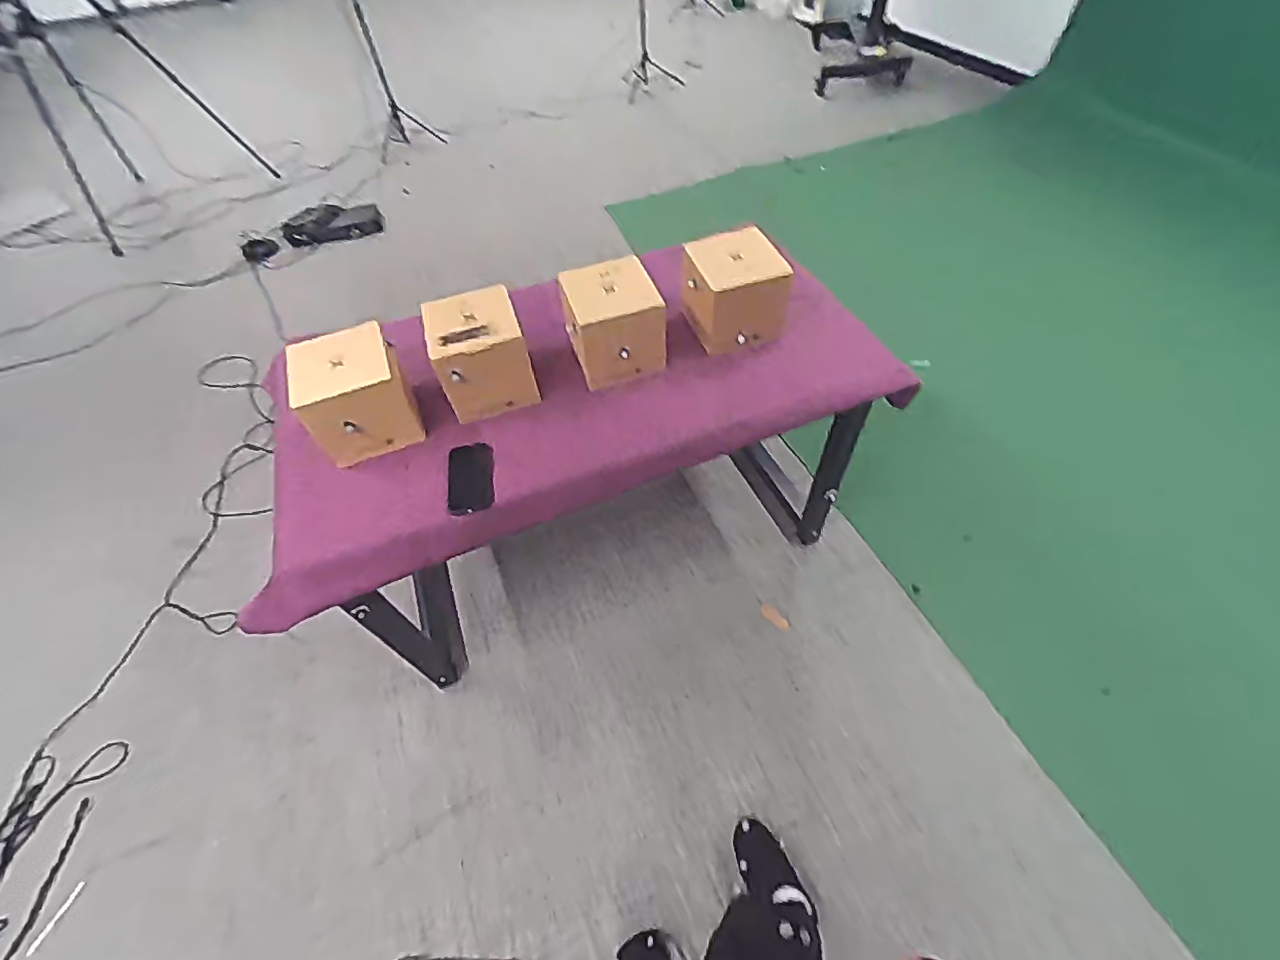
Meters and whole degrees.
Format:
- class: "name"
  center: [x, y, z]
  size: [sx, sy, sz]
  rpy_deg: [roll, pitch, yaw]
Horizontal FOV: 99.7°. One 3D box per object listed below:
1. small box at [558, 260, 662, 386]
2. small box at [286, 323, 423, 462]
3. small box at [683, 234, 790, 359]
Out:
- class: "small box"
  center: [-0.056, -0.309, 1.091]
  size: [0.168, 0.176, 0.179]
  rpy_deg: [-16, 54, -9]
- class: "small box"
  center: [-0.524, -0.155, 1.005]
  size: [0.168, 0.176, 0.179]
  rpy_deg: [-21, 54, -12]
- class: "small box"
  center: [0.191, -0.382, 1.133]
  size: [0.168, 0.176, 0.179]
  rpy_deg: [-15, 54, -7]
